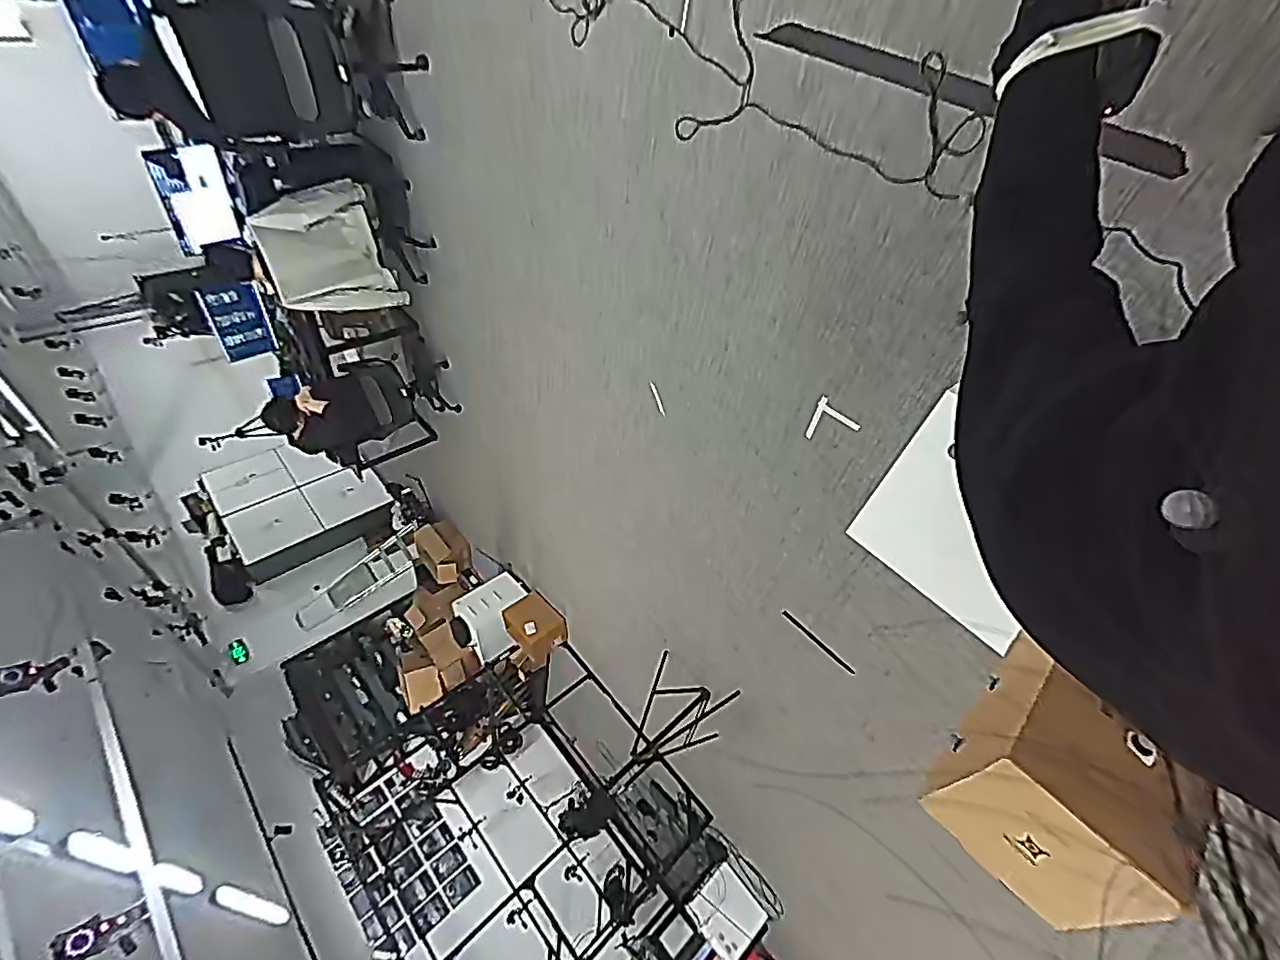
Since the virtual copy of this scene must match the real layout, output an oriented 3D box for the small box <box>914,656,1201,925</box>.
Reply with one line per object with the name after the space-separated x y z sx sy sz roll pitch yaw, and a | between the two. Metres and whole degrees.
0.449 0.332 0.591 0.168 0.176 0.179 41 143 26 | small box
